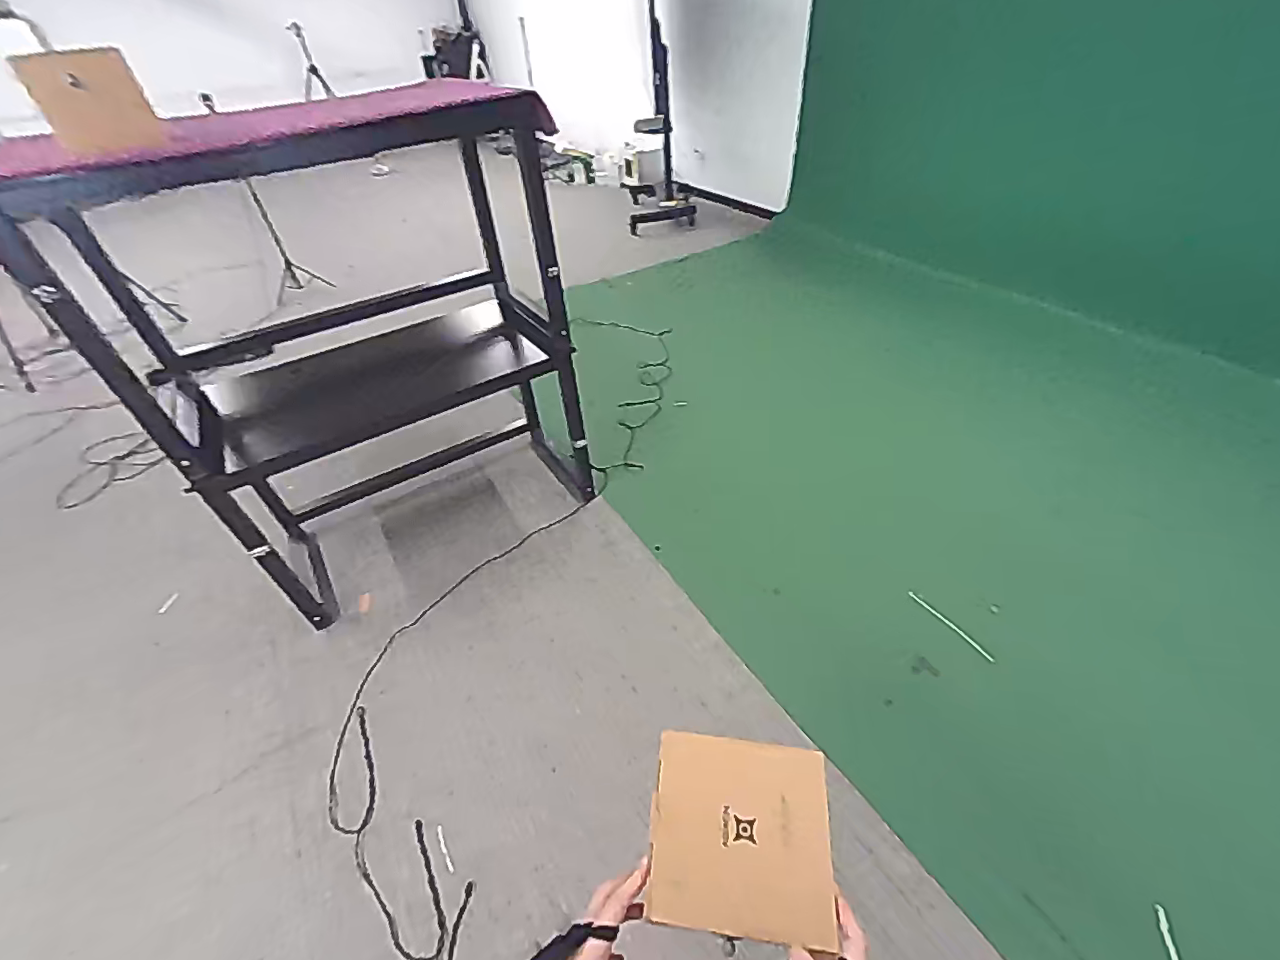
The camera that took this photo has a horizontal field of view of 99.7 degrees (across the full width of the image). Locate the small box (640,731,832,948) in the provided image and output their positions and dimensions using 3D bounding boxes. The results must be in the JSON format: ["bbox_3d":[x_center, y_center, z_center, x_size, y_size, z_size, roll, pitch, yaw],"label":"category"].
[{"bbox_3d":[0.096,0.396,0.596,0.179,0.176,0.168,6,51,4],"label":"small box"}]

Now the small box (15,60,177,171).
[{"bbox_3d":[-1.131,-0.770,1.141,0.179,0.176,0.168,-27,47,-23],"label":"small box"}]
